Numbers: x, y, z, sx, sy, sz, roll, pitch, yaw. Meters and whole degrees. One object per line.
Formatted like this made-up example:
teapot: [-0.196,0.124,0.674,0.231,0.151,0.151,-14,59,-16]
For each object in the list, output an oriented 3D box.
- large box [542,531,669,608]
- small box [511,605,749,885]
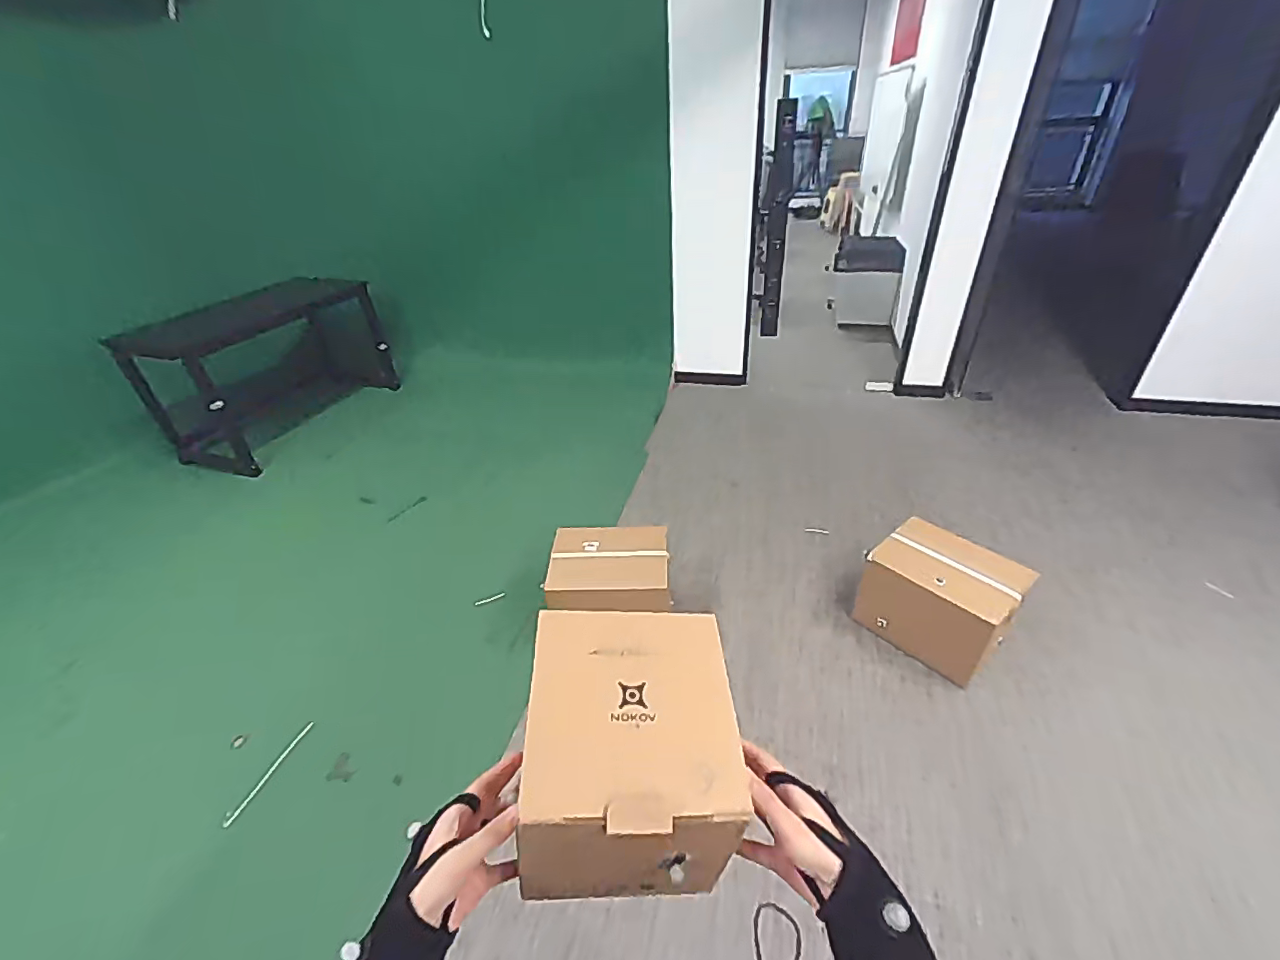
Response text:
large box: [-0.102,0.402,1.917,0.408,0.320,0.320,-3,33,3]
small box: [-0.016,0.233,0.477,0.168,0.176,0.179,3,37,-6]
